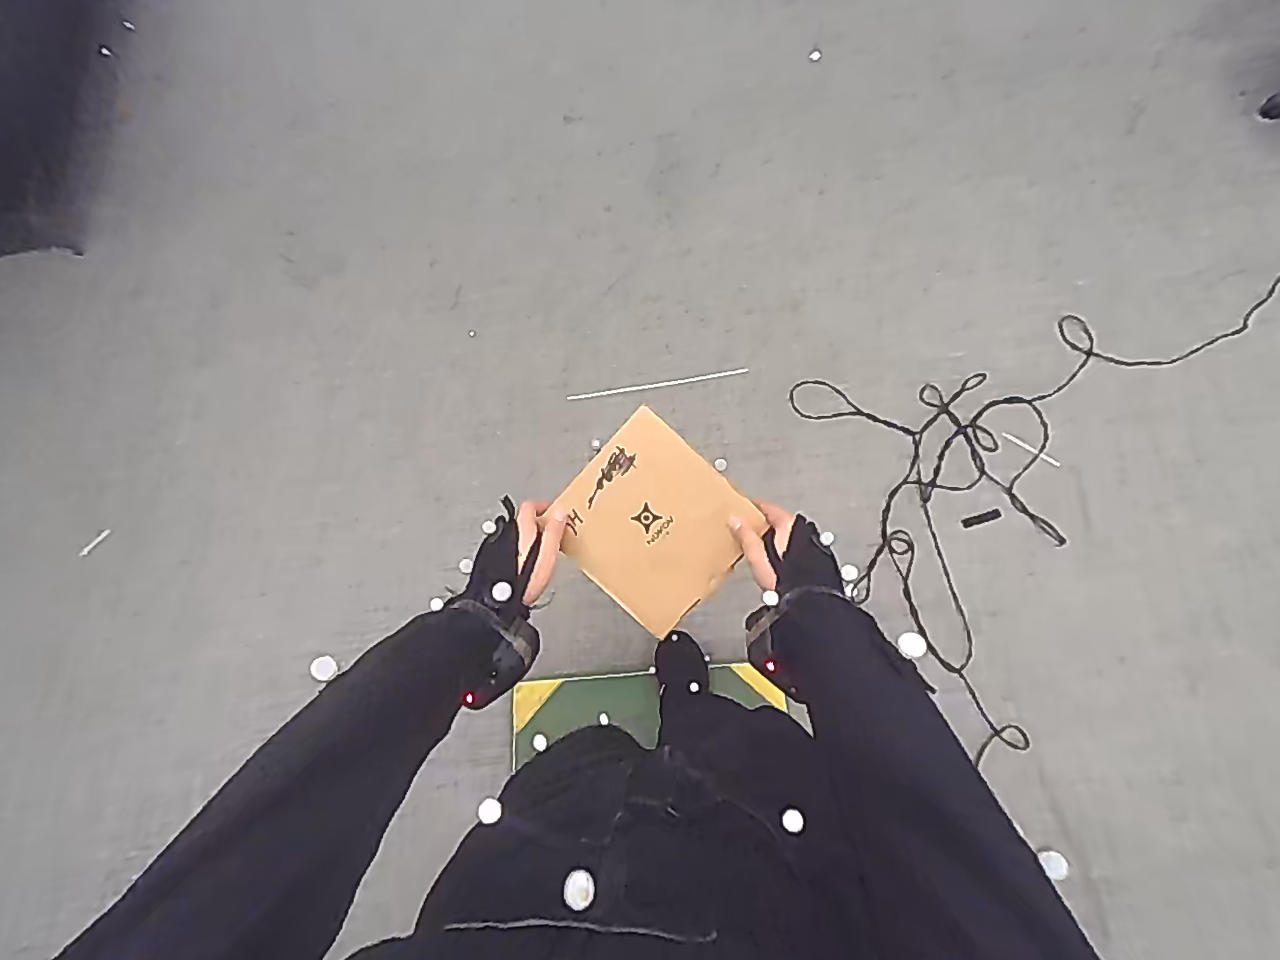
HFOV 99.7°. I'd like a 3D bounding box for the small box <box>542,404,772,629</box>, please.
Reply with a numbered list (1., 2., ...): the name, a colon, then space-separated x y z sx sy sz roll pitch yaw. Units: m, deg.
1. small box: 0.021 0.030 0.620 0.179 0.176 0.168 43 96 -1
